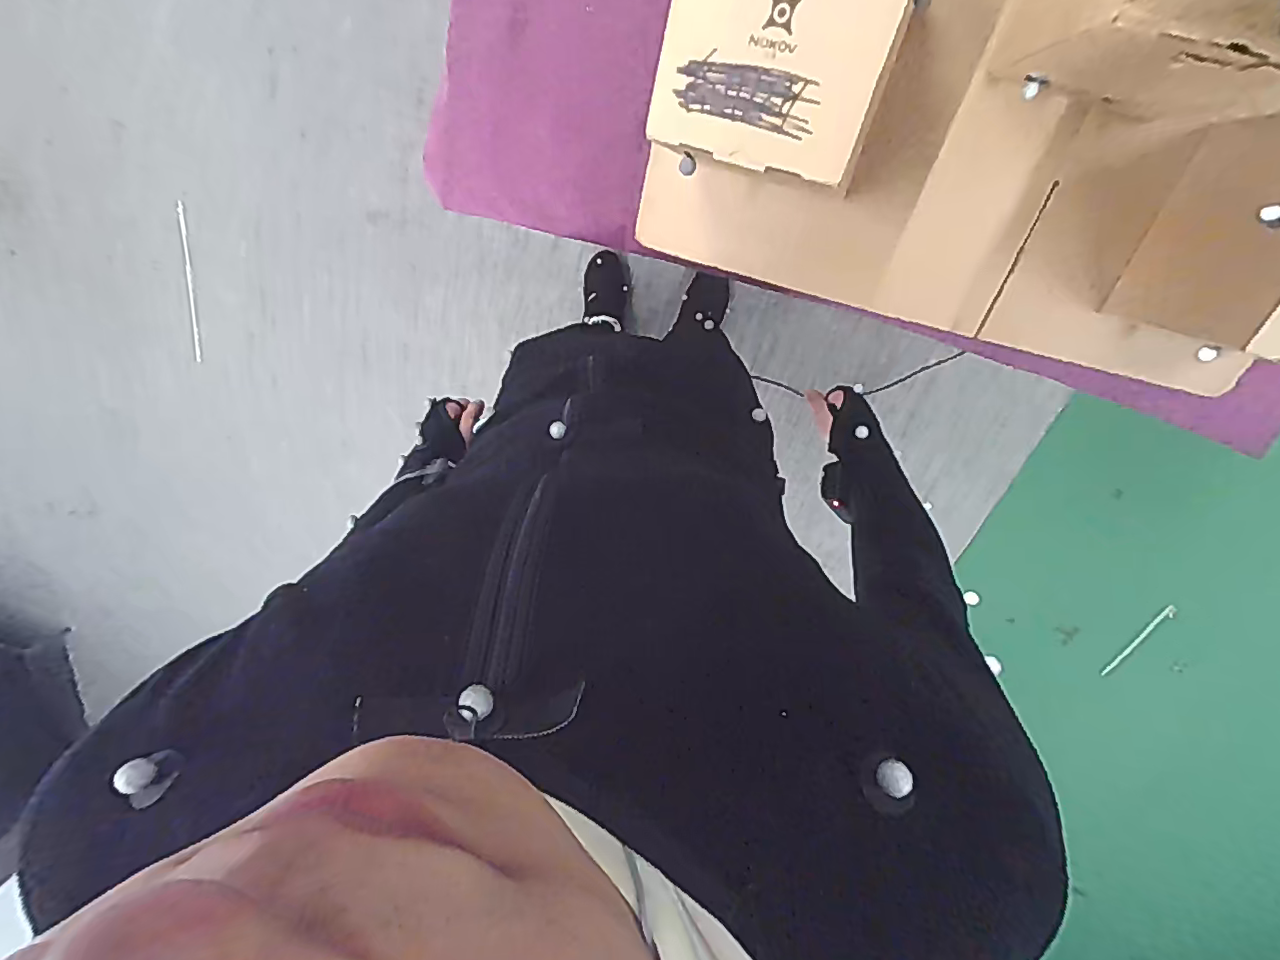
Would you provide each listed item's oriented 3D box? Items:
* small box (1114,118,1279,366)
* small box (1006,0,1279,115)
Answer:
[{"bbox_3d":[0.569,-0.191,0.454,0.168,0.176,0.179,14,118,-2],"label":"small box"},{"bbox_3d":[0.399,-0.377,0.371,0.168,0.176,0.179,13,116,-3],"label":"small box"}]
